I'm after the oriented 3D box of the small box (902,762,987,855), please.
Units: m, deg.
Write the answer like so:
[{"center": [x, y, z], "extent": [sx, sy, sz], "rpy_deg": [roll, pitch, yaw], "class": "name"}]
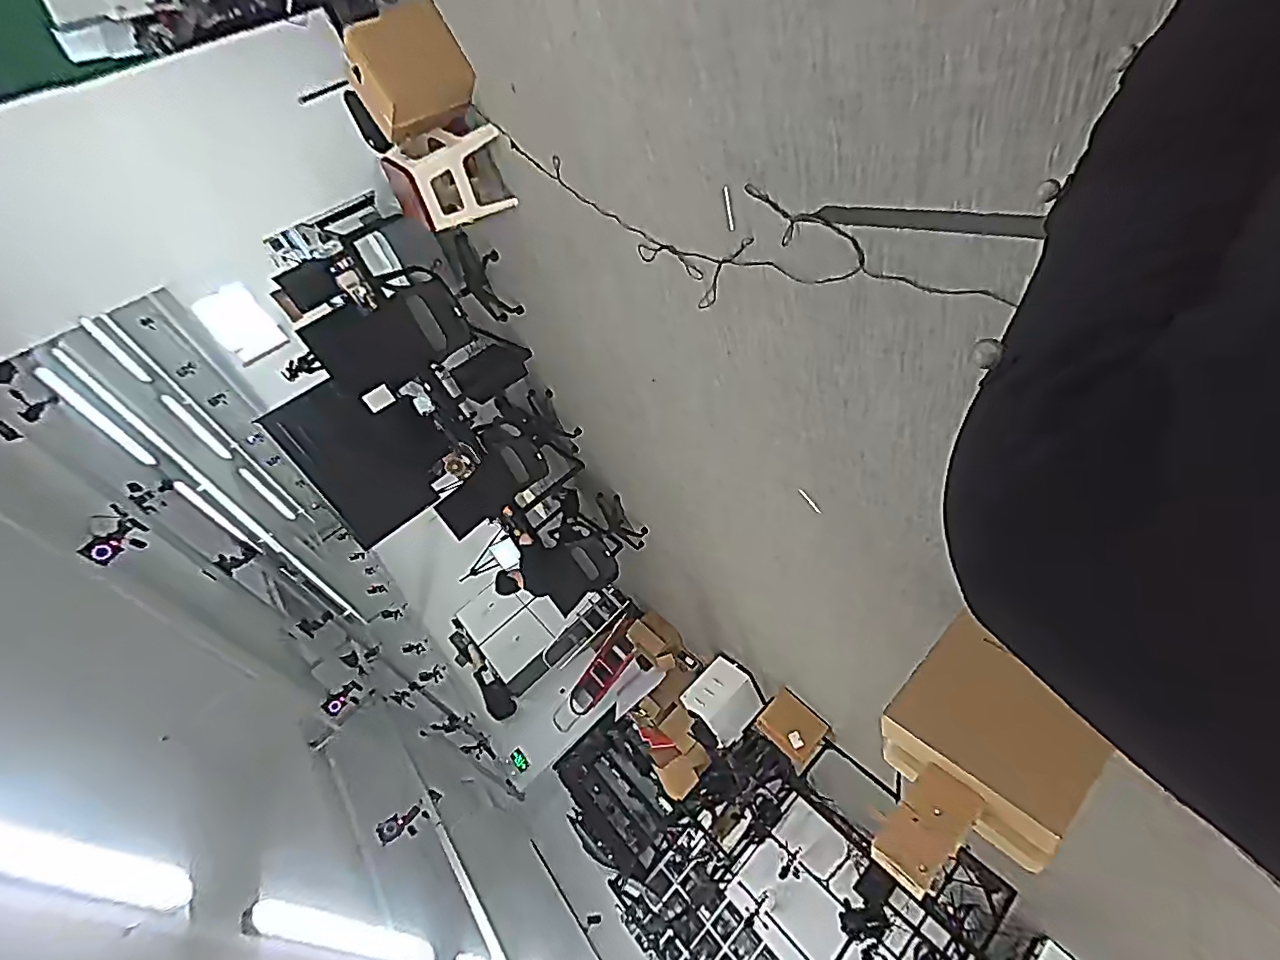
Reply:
[{"center": [0.974, 1.045, 1.738], "extent": [0.179, 0.176, 0.168], "rpy_deg": [29, 151, 44], "class": "small box"}]
